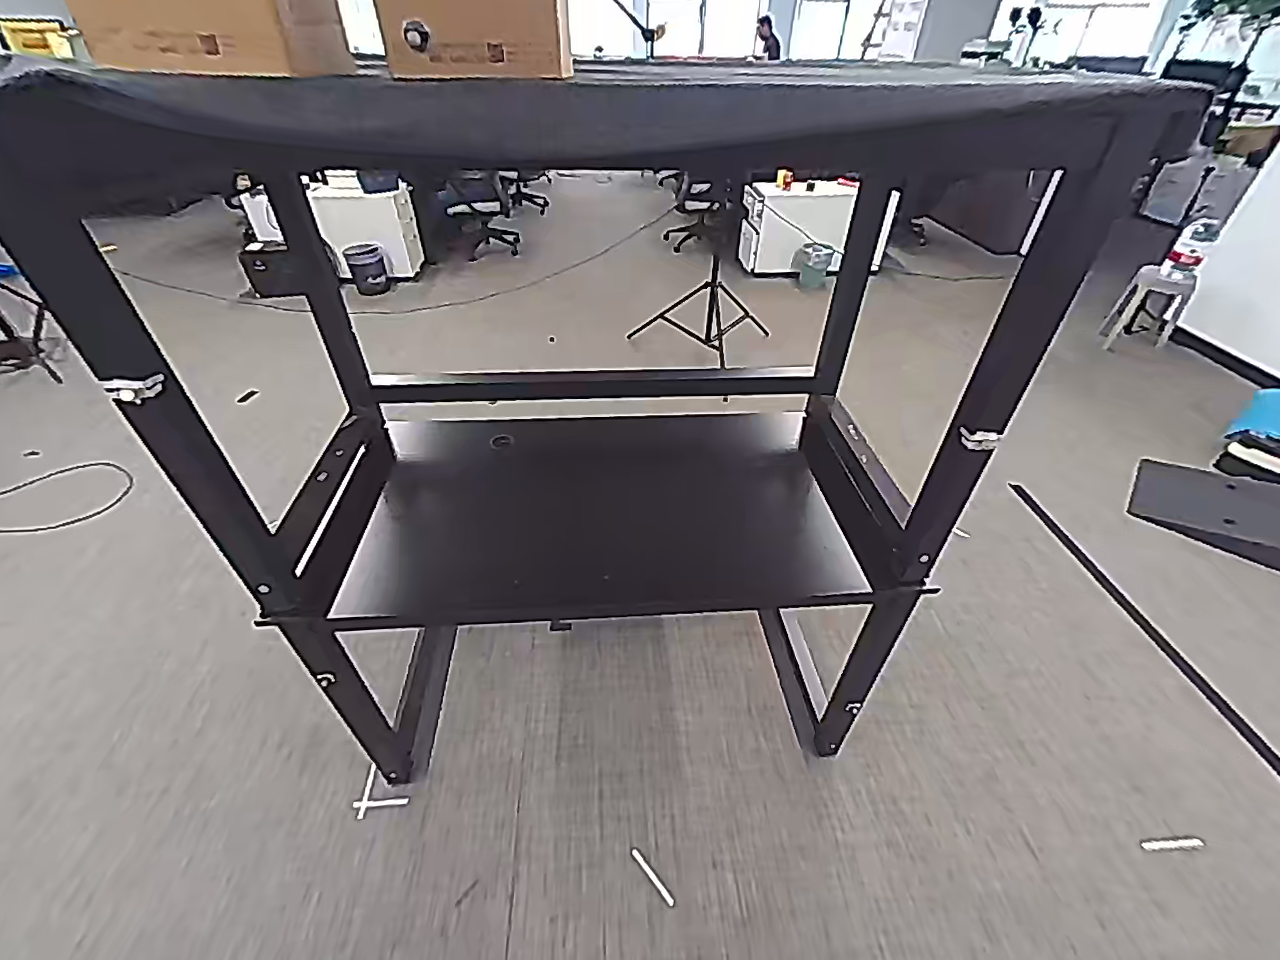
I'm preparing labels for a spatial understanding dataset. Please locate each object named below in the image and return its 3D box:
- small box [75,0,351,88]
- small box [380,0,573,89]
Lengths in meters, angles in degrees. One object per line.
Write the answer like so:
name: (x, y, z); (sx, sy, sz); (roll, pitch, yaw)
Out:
small box: (-0.396, -0.468, 0.499); (0.168, 0.176, 0.179); (-2, 37, -5)
small box: (-0.157, -0.495, 0.536); (0.168, 0.176, 0.179); (-1, 37, -2)
